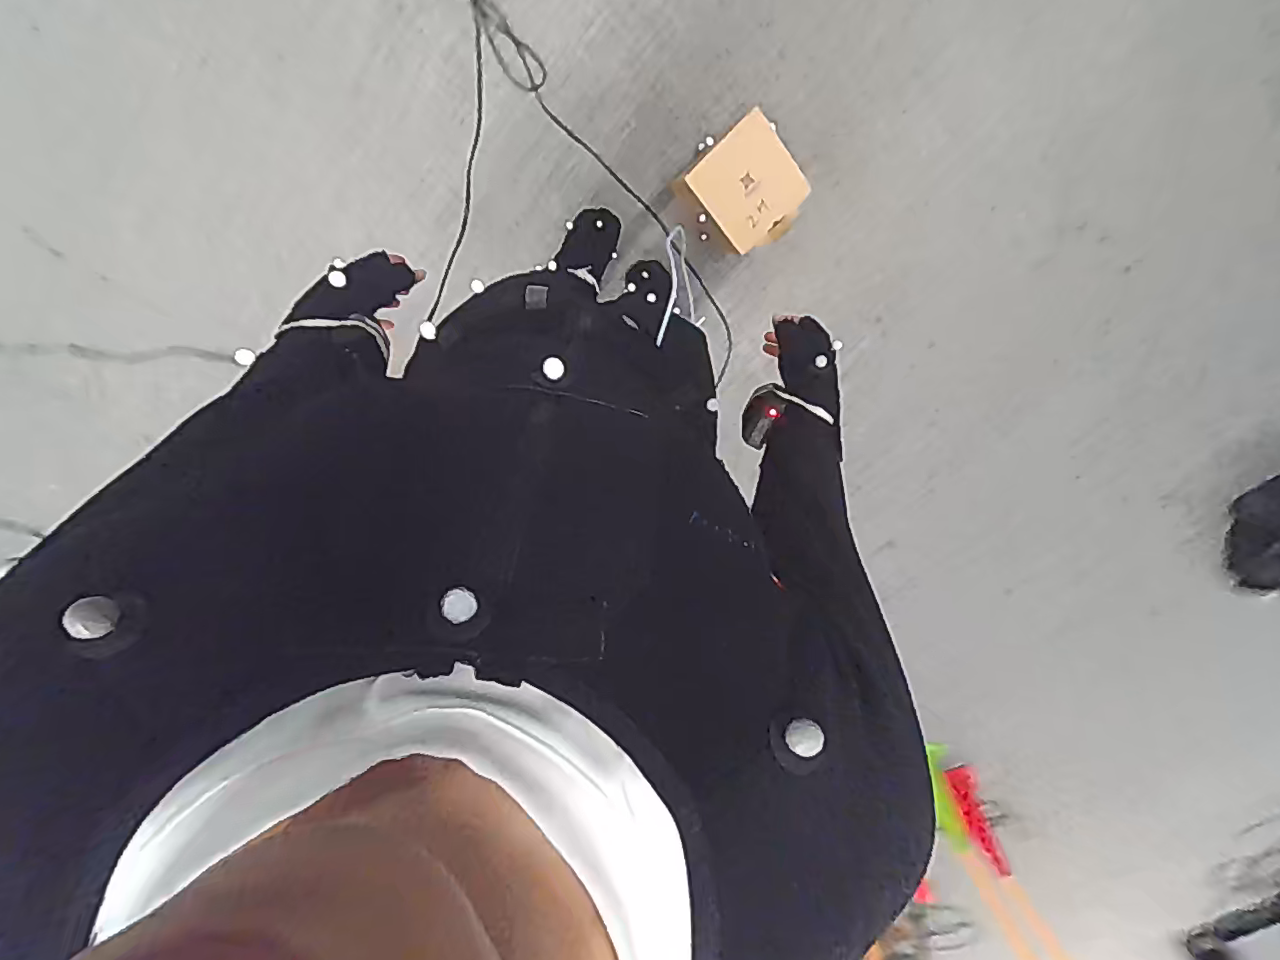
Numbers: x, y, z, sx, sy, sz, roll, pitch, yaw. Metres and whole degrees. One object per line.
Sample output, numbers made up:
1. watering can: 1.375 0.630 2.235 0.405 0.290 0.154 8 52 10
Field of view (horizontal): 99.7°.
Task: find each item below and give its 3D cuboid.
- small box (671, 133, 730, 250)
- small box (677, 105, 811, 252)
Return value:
1. small box: 0.186 -0.629 1.167 0.168 0.176 0.179 -37 113 14
2. small box: 0.188 -0.564 1.034 0.168 0.176 0.179 -39 113 15
